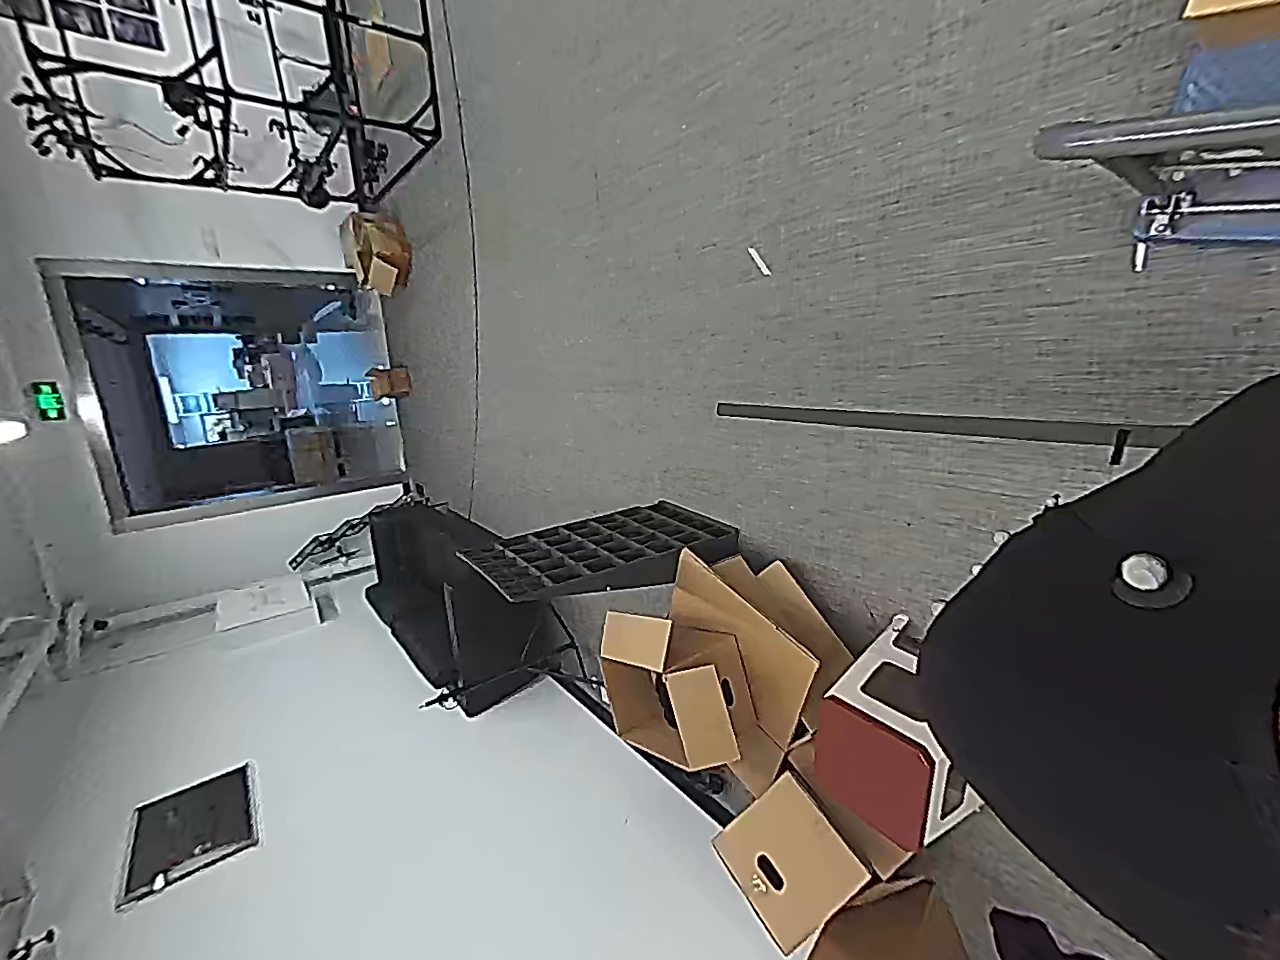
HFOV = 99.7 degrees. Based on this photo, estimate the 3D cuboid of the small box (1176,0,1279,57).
[{"bbox_3d":[0.905,-0.719,0.747,0.179,0.176,0.168,30,122,44],"label":"small box"}]
